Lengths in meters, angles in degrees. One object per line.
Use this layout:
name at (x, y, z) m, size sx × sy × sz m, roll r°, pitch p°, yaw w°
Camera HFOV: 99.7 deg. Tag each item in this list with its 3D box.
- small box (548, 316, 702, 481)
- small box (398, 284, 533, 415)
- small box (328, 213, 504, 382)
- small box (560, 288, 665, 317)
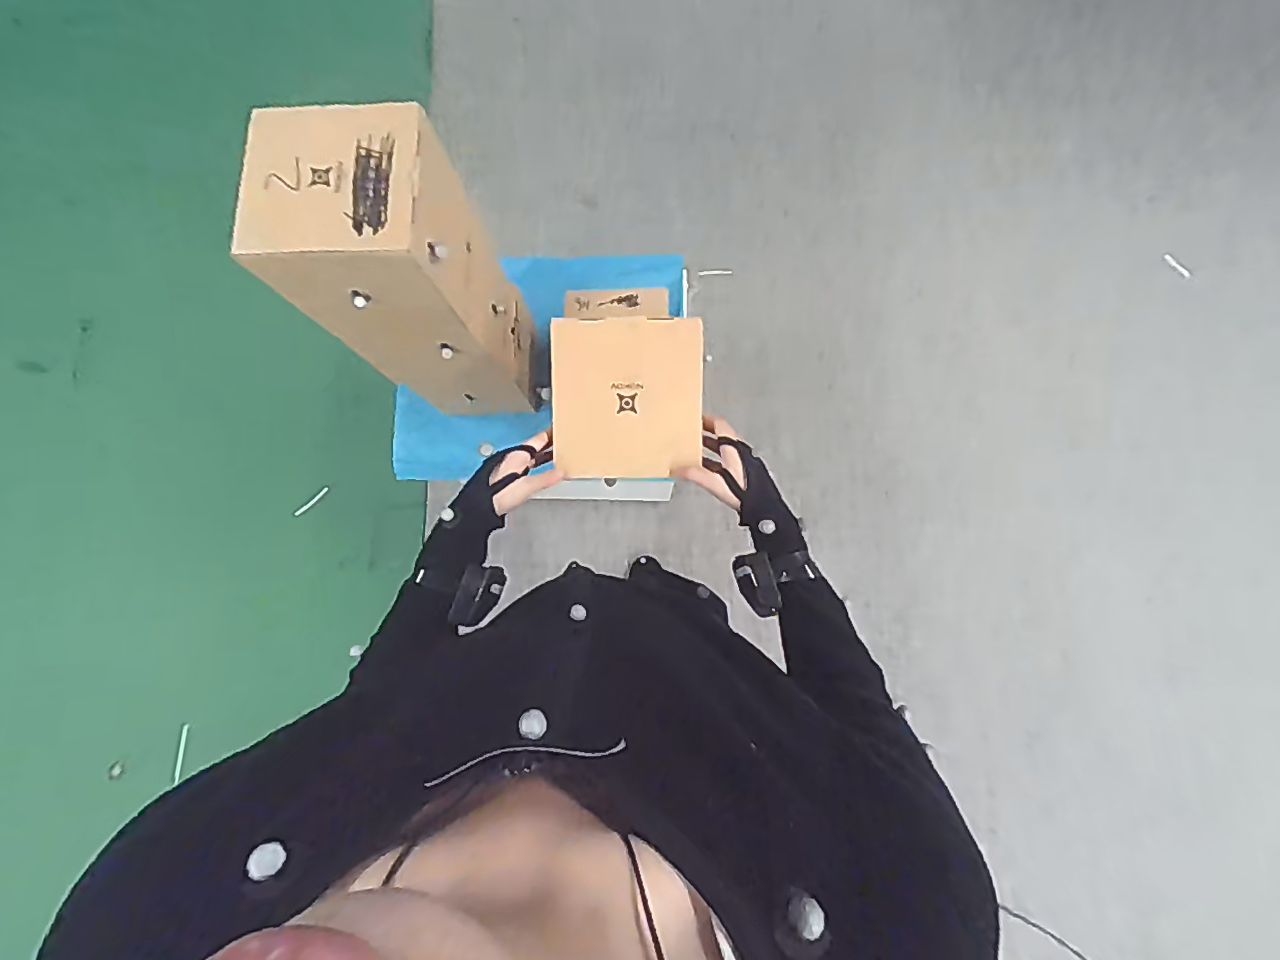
small box at (-0.016, -0.093, 0.658) m, size 0.168 × 0.176 × 0.179 m, roll -1°, pitch 93°, yaw -1°
small box at (-0.283, -0.214, 0.915) m, size 0.179 × 0.176 × 0.168 m, roll -1°, pitch 79°, yaw 1°
small box at (-0.296, -0.244, 0.754) m, size 0.179 × 0.176 × 0.168 m, roll -1°, pitch 78°, yaw 1°
small box at (-0.040, -0.199, 0.907) m, size 0.168 × 0.176 × 0.179 m, roll -1°, pitch 79°, yaw 1°
